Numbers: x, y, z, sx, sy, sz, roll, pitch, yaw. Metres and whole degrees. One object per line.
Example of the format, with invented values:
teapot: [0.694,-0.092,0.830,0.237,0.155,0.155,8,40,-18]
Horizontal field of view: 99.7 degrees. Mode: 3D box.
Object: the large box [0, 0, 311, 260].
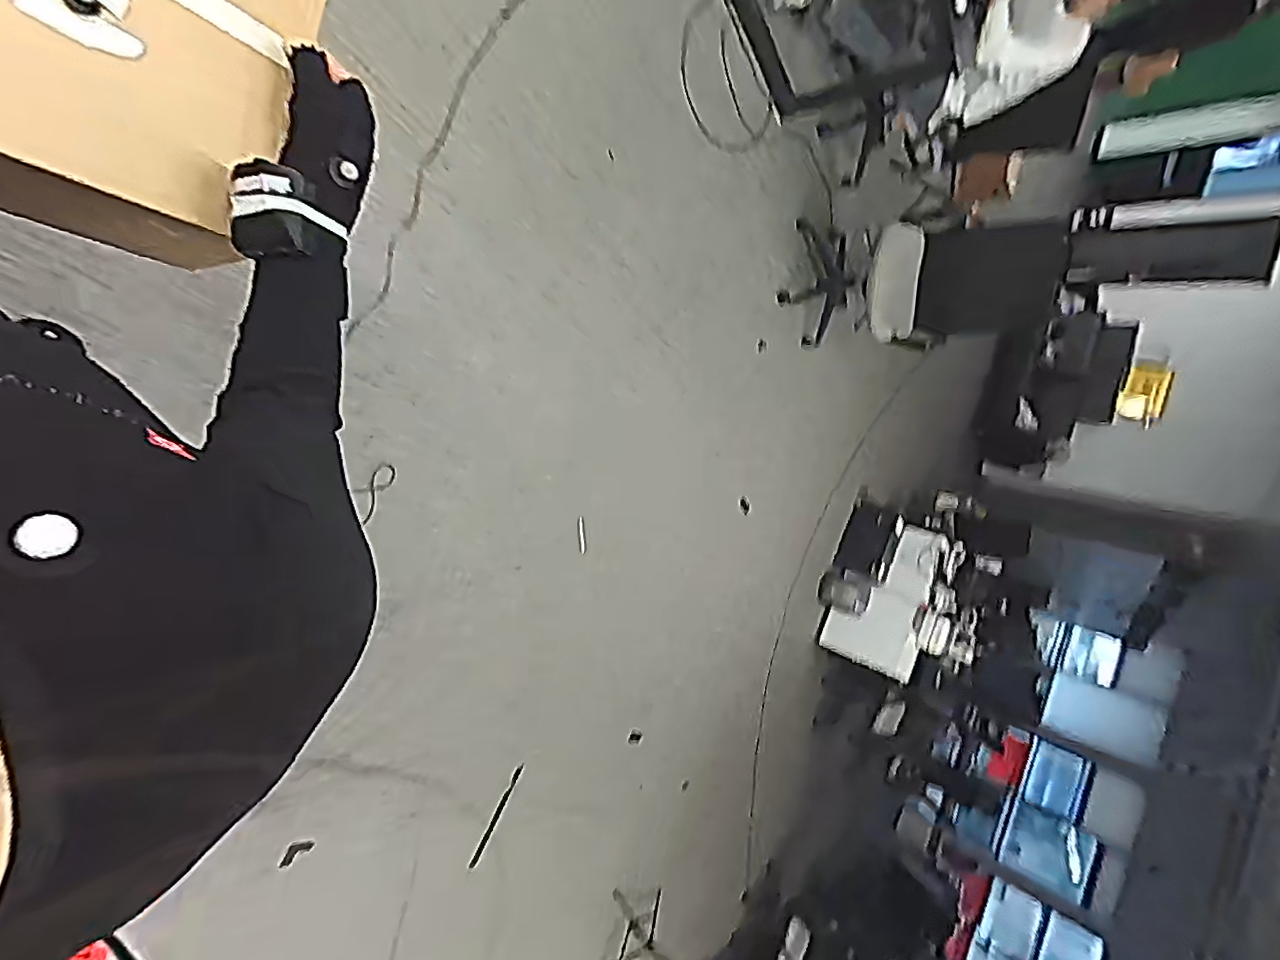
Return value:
large box: [-0.529,-0.398,0.399,0.408,0.320,0.320,8,95,-52]
